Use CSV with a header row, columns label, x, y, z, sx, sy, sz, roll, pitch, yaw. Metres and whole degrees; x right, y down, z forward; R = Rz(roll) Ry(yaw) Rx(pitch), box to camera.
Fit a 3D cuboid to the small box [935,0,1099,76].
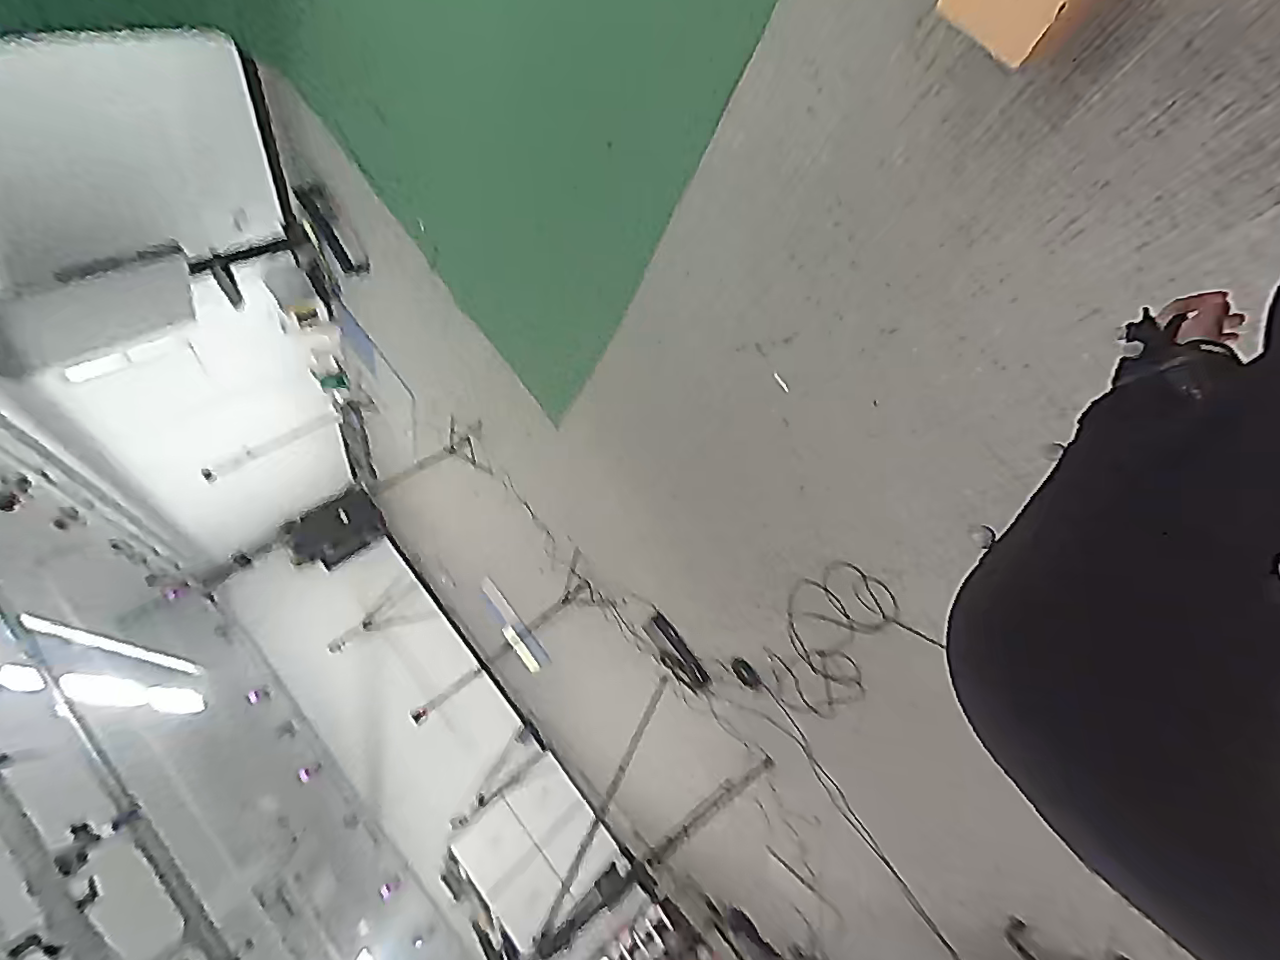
label,x,y,z,sx,sy,sz,roll,pitch,yaw
small box,0.622,-0.783,0.852,0.179,0.176,0.168,49,147,12
